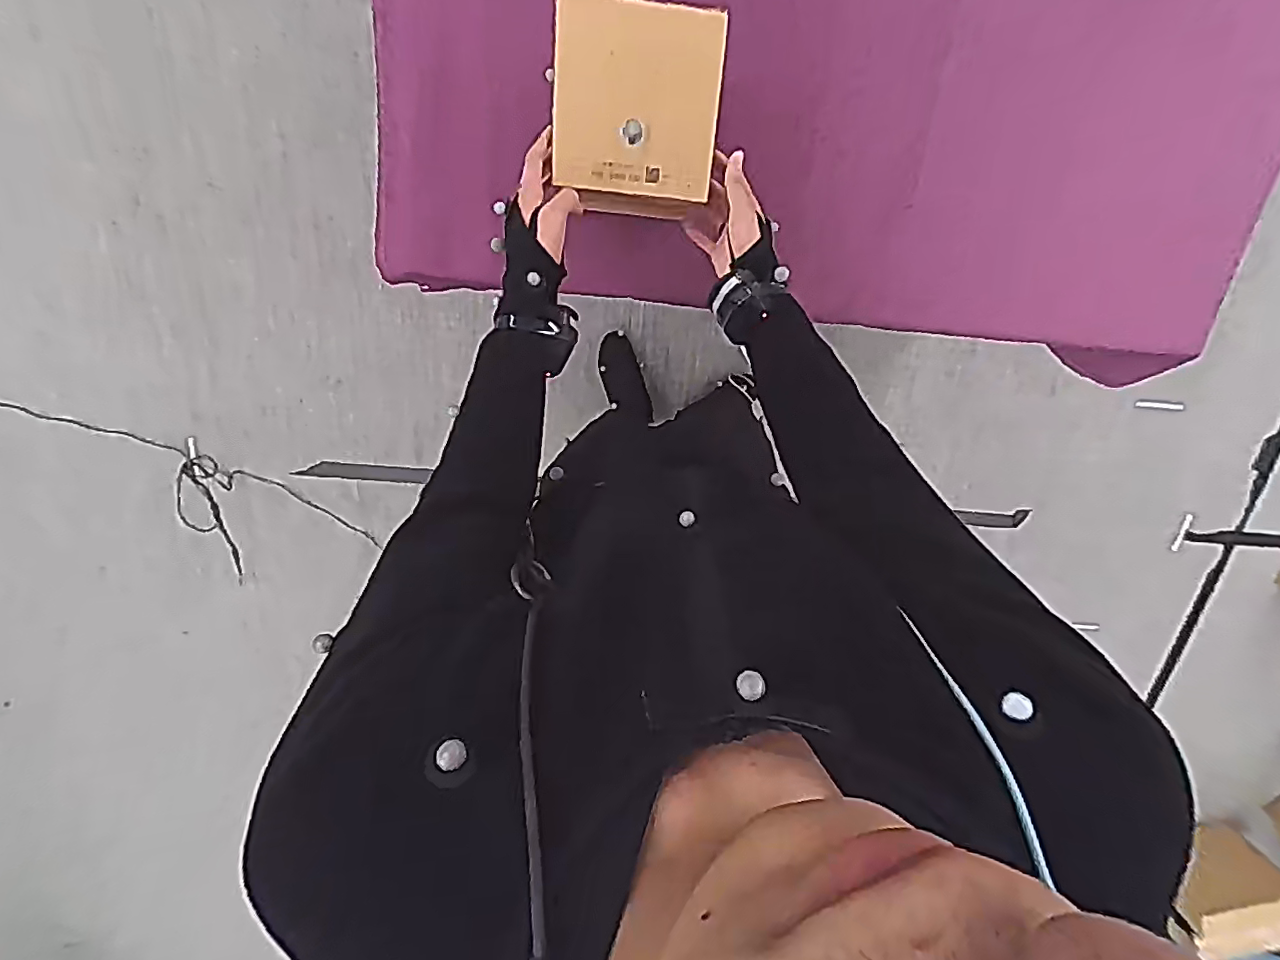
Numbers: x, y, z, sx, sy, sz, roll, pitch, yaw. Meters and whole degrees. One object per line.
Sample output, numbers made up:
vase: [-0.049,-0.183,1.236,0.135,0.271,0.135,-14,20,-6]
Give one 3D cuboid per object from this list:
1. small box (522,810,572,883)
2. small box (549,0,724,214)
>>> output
small box: [-0.352,1.402,2.075,0.168,0.176,0.179,7,111,-5]
small box: [-0.013,-0.403,0.609,0.168,0.179,0.176,2,109,-6]
